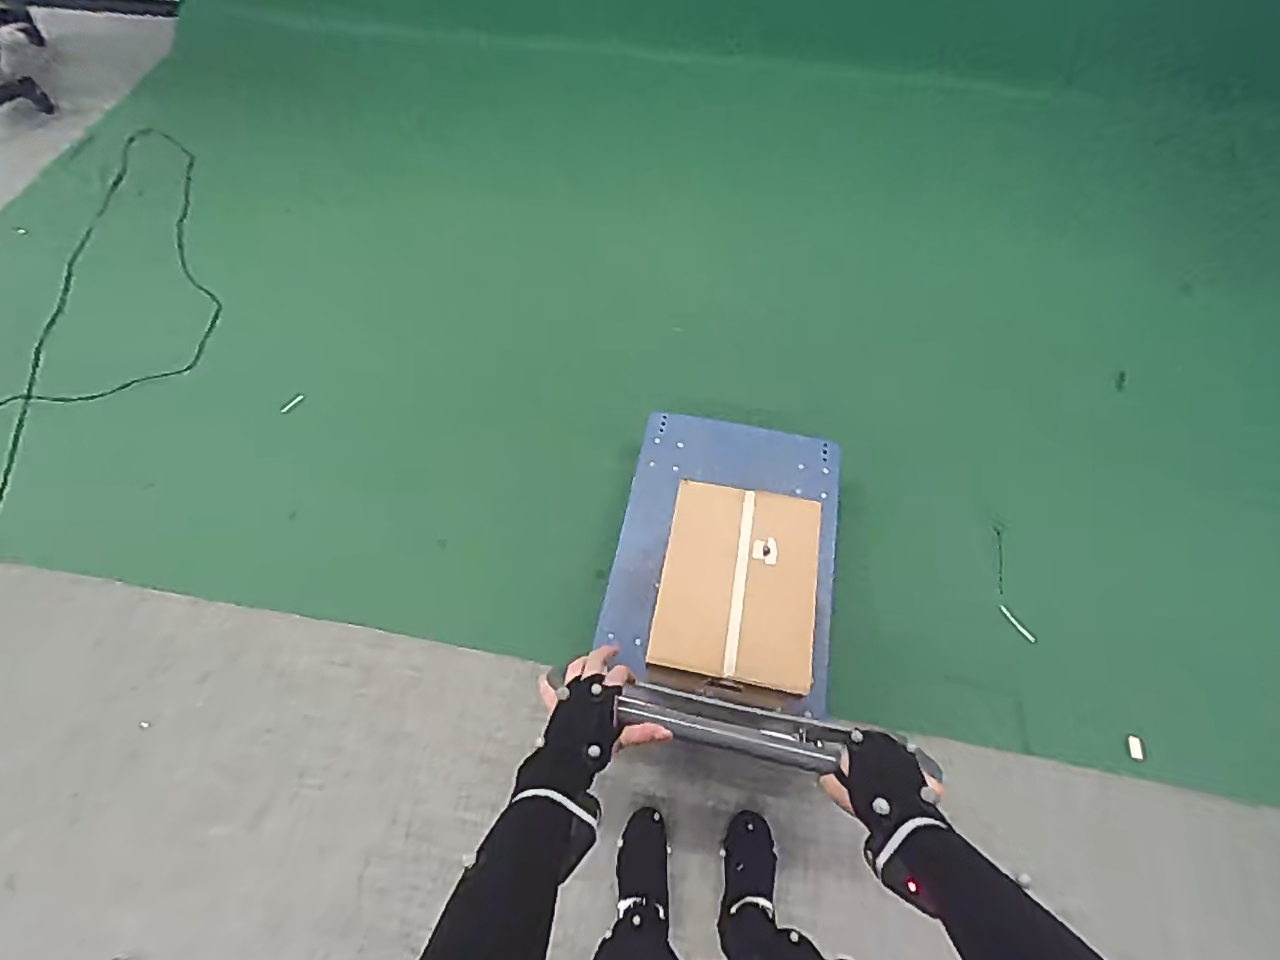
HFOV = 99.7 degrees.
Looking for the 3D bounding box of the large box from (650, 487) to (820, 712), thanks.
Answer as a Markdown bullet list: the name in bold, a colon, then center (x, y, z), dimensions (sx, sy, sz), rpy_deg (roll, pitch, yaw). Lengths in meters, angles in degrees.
- **large box**: center (0.210, 0.280, 1.236), dimensions (0.320, 0.320, 0.408), rpy_deg (10, 63, 6)
